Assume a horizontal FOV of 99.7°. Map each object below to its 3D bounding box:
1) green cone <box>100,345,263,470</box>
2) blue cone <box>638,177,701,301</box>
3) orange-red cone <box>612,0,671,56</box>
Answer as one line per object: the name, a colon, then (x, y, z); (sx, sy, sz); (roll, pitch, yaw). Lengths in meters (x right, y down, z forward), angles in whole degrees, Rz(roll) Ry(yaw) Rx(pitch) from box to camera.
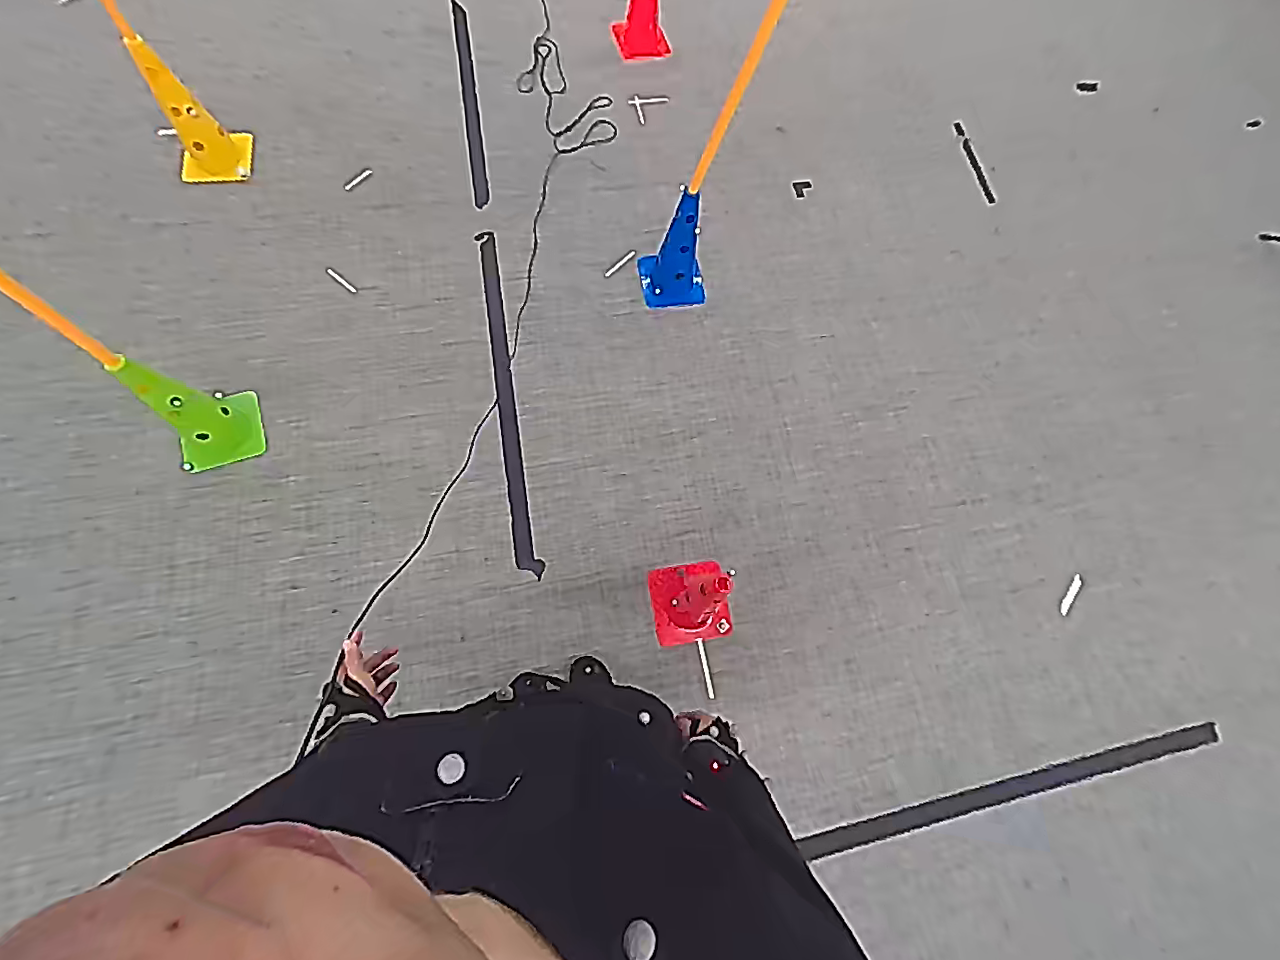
green cone: (-1.110, -0.198, 1.287); (0.200, 0.368, 0.202); (-19, 72, -12)
blue cone: (0.114, -0.716, 1.598); (0.193, 0.380, 0.192); (-6, 71, -8)
orange-red cone: (0.019, -1.772, 1.932); (0.199, 0.360, 0.198); (-14, 73, -9)
